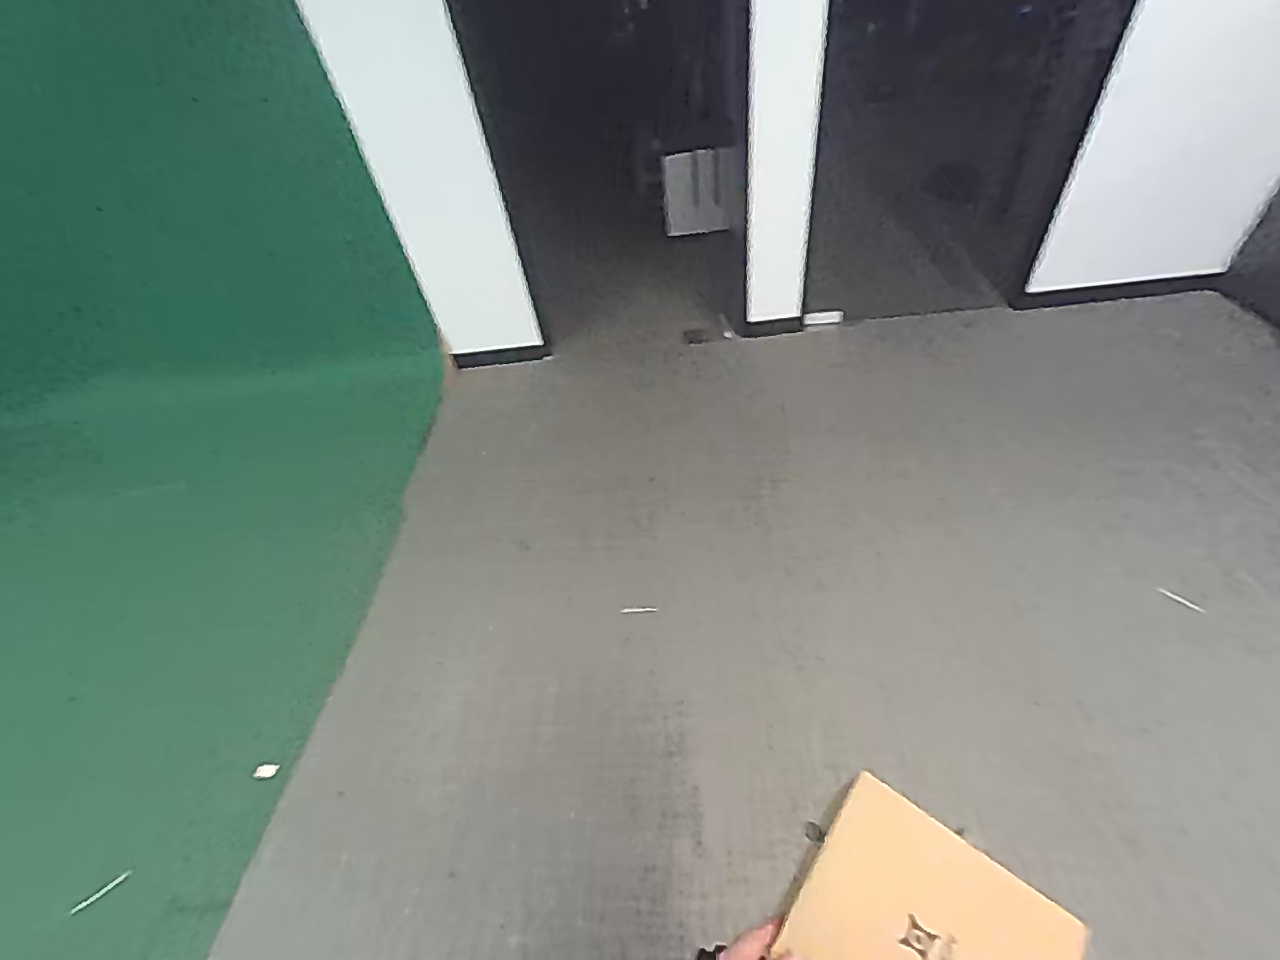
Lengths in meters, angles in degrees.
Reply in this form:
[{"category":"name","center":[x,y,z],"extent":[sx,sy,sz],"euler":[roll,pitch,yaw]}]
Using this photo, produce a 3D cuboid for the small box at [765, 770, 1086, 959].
[{"category":"small box","center":[0.223,0.392,0.468],"extent":[0.179,0.176,0.168],"euler":[29,64,25]}]
